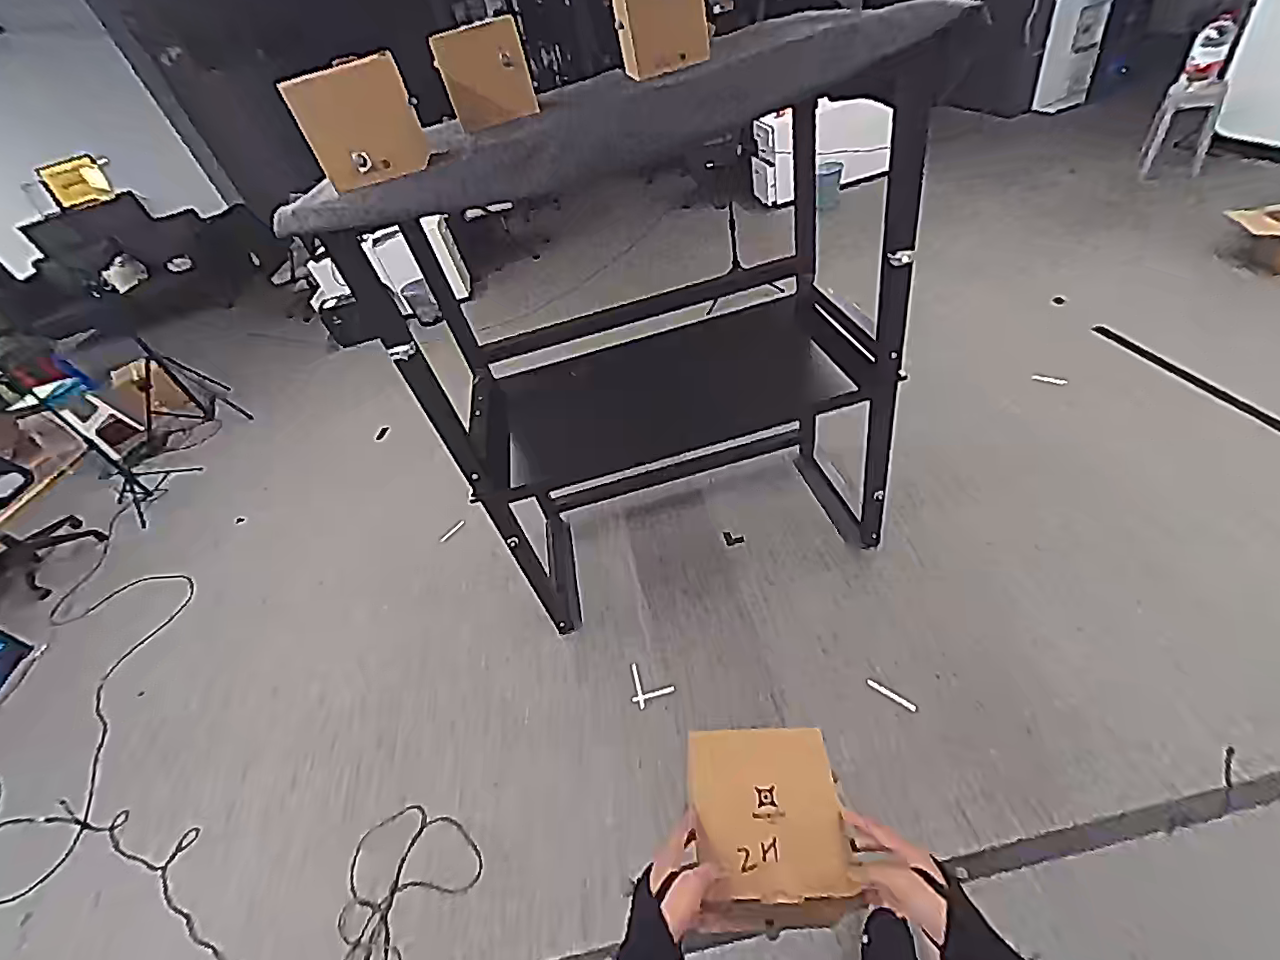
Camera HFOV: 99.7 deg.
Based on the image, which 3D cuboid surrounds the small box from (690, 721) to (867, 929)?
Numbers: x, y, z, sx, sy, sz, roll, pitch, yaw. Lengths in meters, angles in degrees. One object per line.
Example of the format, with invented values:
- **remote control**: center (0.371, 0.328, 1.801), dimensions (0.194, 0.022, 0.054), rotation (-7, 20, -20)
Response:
- **small box**: center (0.149, 0.417, 0.657), dimensions (0.168, 0.176, 0.179), rotation (-3, 43, 2)

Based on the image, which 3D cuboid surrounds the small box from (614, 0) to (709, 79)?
- **small box**: center (0.042, -0.999, 1.180), dimensions (0.168, 0.176, 0.179), rotation (-17, 42, 0)

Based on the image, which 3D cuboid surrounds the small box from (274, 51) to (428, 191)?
- **small box**: center (-0.494, -0.633, 0.957), dimensions (0.168, 0.176, 0.179), rotation (-18, 41, -1)
